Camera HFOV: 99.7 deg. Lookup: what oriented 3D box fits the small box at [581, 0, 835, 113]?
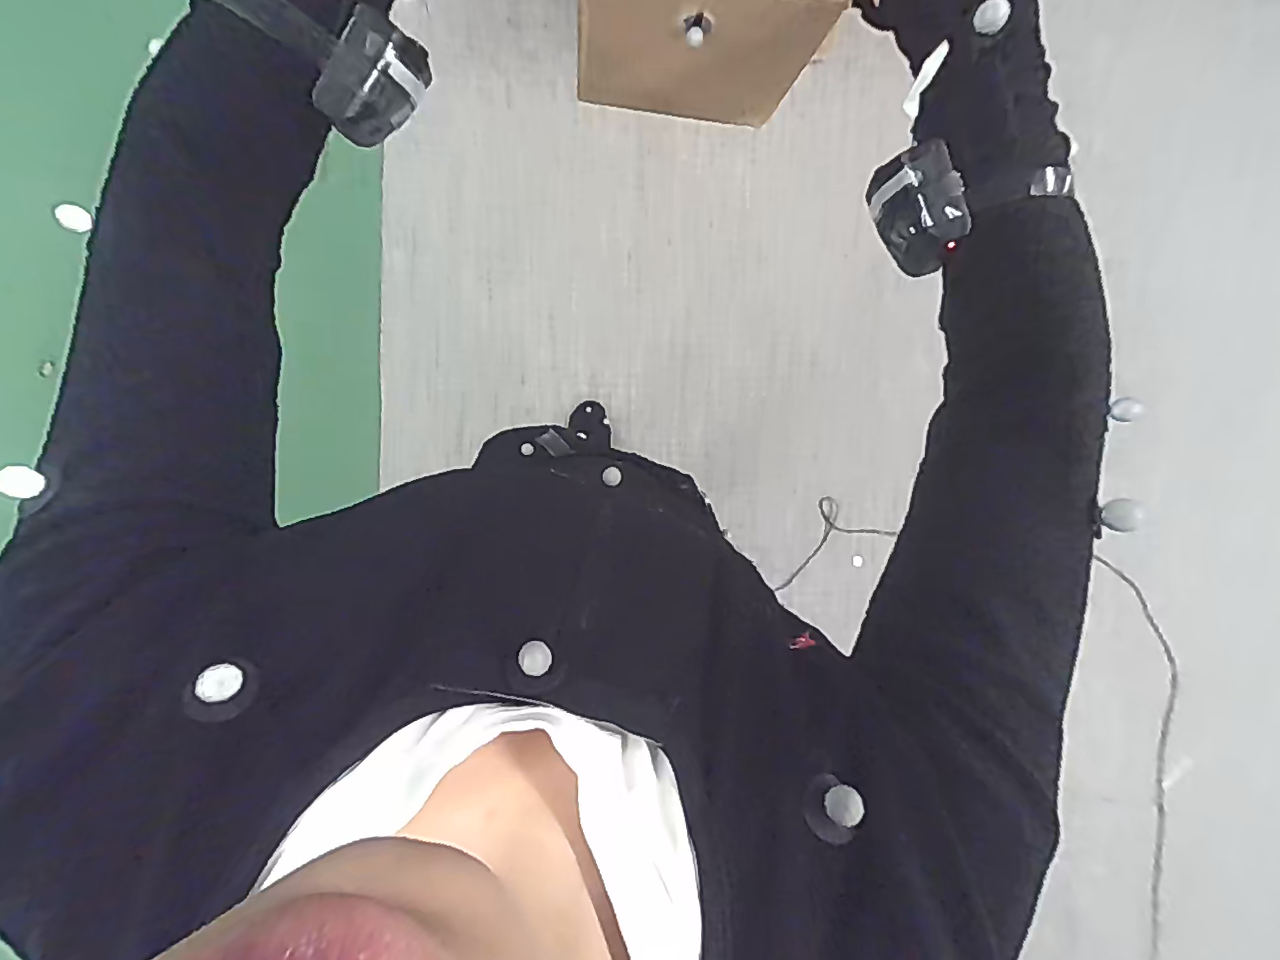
[{"bbox_3d":[0.048,-0.411,0.407,0.179,0.176,0.168,3,99,-8],"label":"small box"}]
